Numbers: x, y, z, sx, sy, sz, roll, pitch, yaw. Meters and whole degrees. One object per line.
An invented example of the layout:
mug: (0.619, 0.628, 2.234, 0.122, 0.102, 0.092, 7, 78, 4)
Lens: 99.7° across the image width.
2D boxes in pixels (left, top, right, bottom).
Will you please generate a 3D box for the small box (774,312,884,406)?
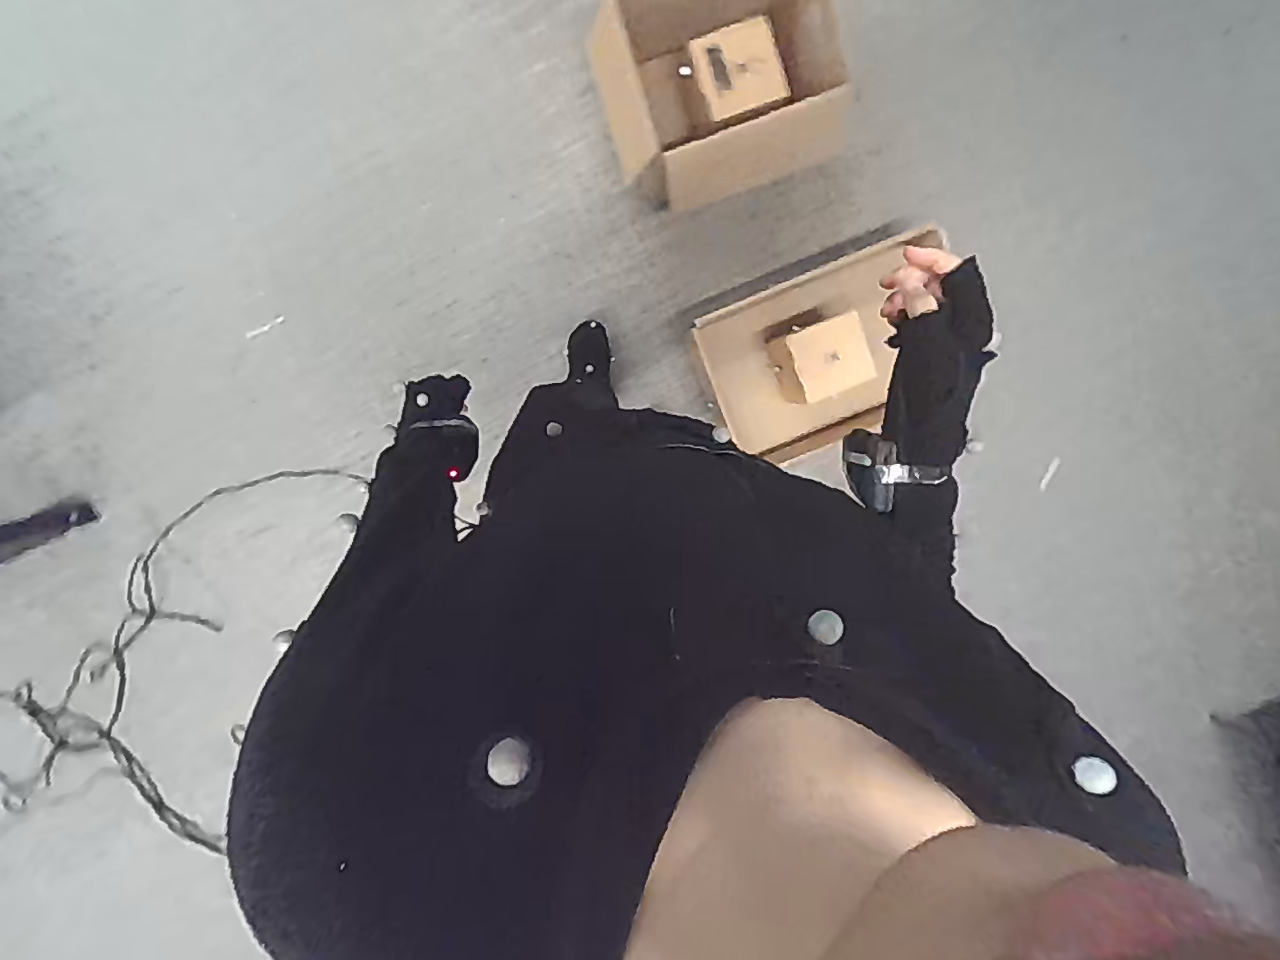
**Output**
small box: (0.450, -0.289, 1.306, 0.179, 0.176, 0.168, -22, 100, 2)
